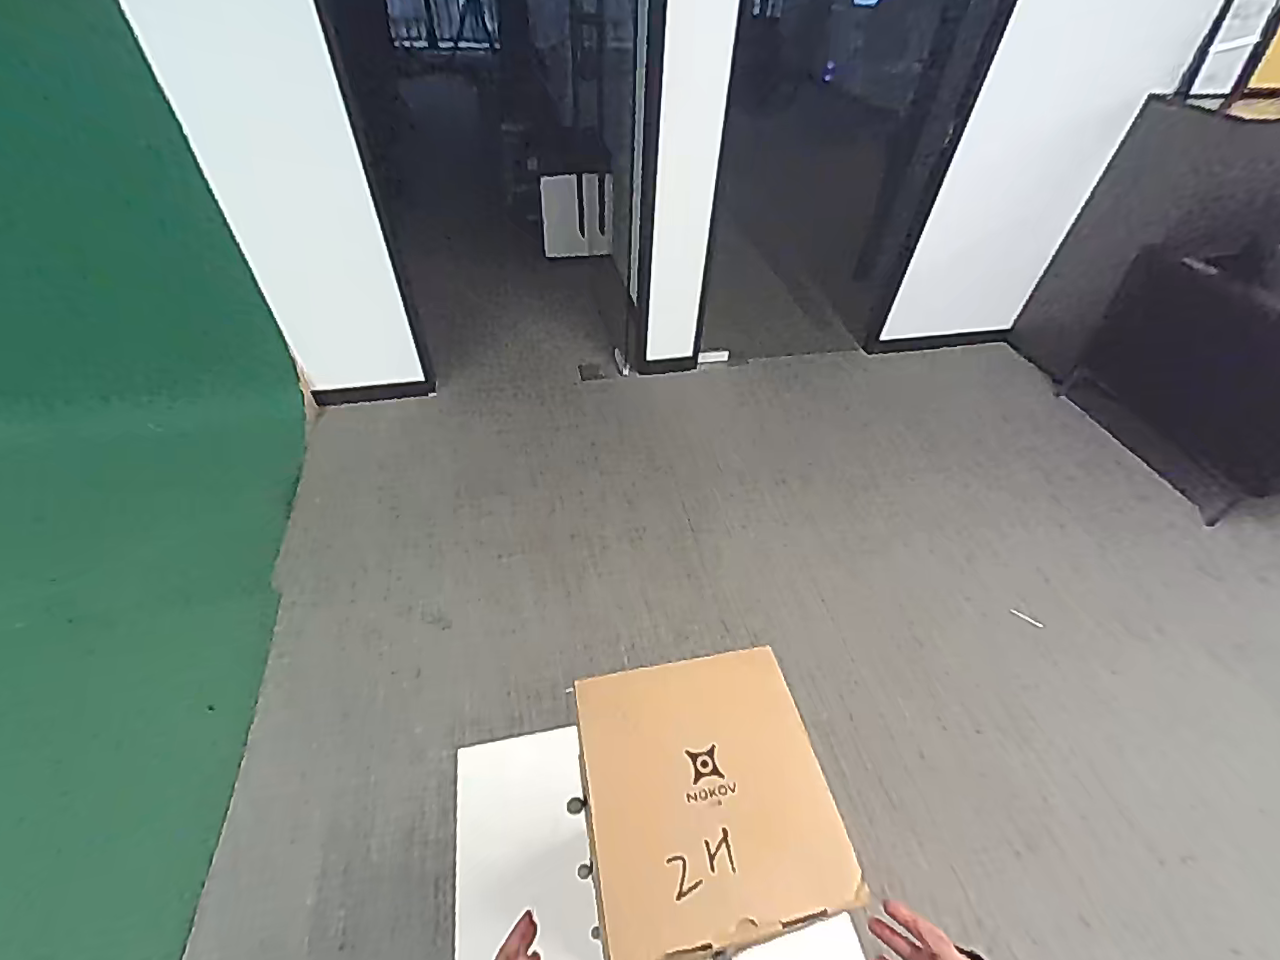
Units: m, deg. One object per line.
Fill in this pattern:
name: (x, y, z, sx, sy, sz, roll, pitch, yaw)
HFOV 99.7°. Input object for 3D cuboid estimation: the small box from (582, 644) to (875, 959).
small box: (0.045, 0.261, 0.431, 0.168, 0.176, 0.179, -7, 46, -10)
